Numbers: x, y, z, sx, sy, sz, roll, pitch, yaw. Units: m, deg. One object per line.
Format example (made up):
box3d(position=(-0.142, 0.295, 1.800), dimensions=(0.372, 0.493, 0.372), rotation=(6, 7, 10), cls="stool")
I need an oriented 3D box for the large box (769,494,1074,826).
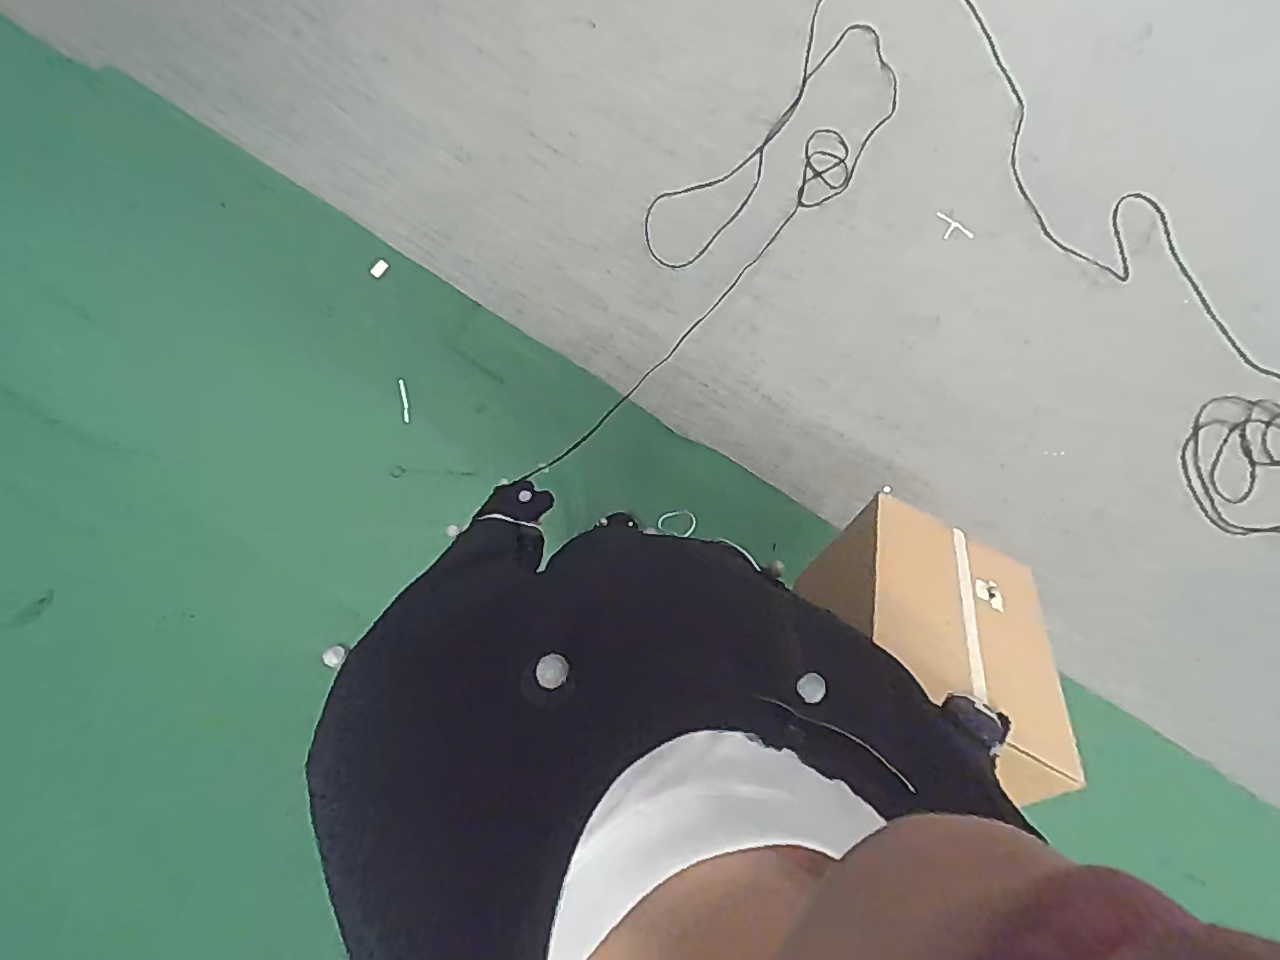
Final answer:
box3d(position=(0.462, 0.310, 0.968), dimensions=(0.320, 0.320, 0.408), rotation=(28, 43, 2), cls="large box")
